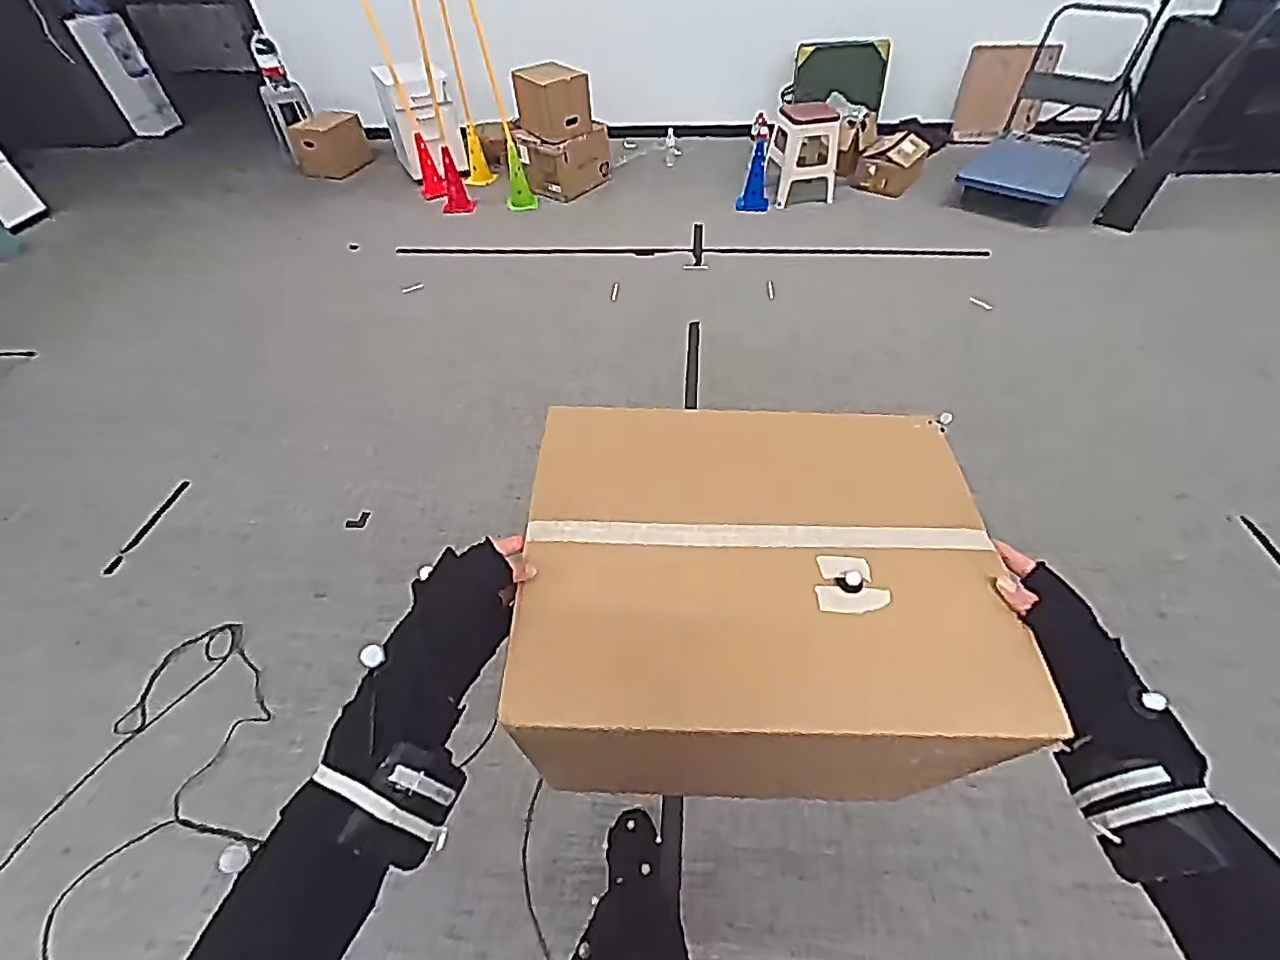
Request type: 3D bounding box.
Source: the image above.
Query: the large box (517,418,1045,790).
[{"bbox_3d":[0.101,0.147,0.605,0.408,0.320,0.320,1,53,-1],"label":"large box"}]
